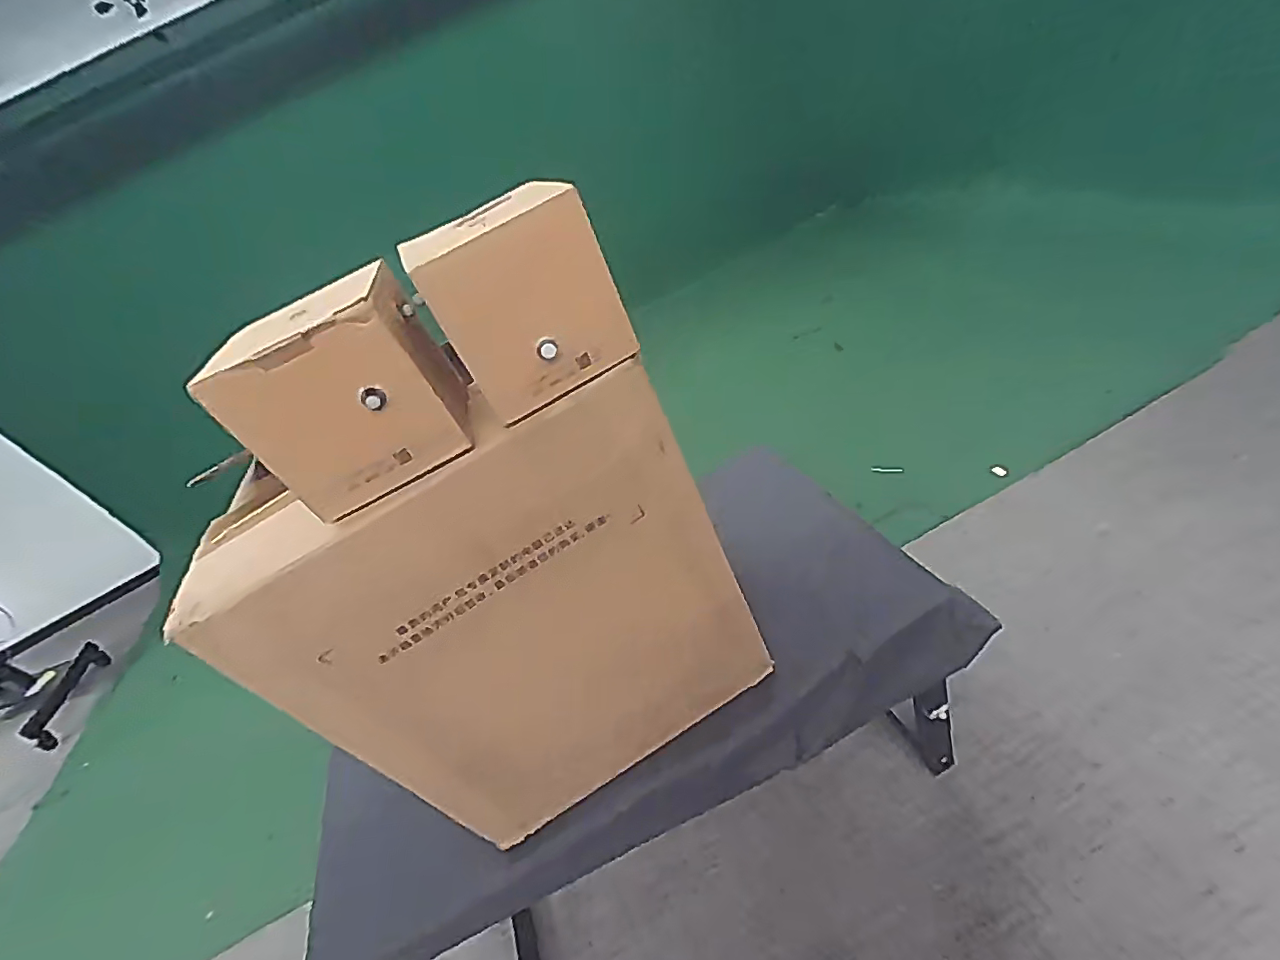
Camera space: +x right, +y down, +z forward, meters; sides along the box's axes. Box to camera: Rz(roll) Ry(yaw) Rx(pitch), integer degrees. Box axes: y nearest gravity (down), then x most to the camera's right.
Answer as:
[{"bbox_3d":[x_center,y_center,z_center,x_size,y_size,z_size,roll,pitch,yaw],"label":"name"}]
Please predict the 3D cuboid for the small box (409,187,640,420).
[{"bbox_3d":[-0.123,-0.190,0.579,0.168,0.176,0.179,-30,37,-6],"label":"small box"}]
